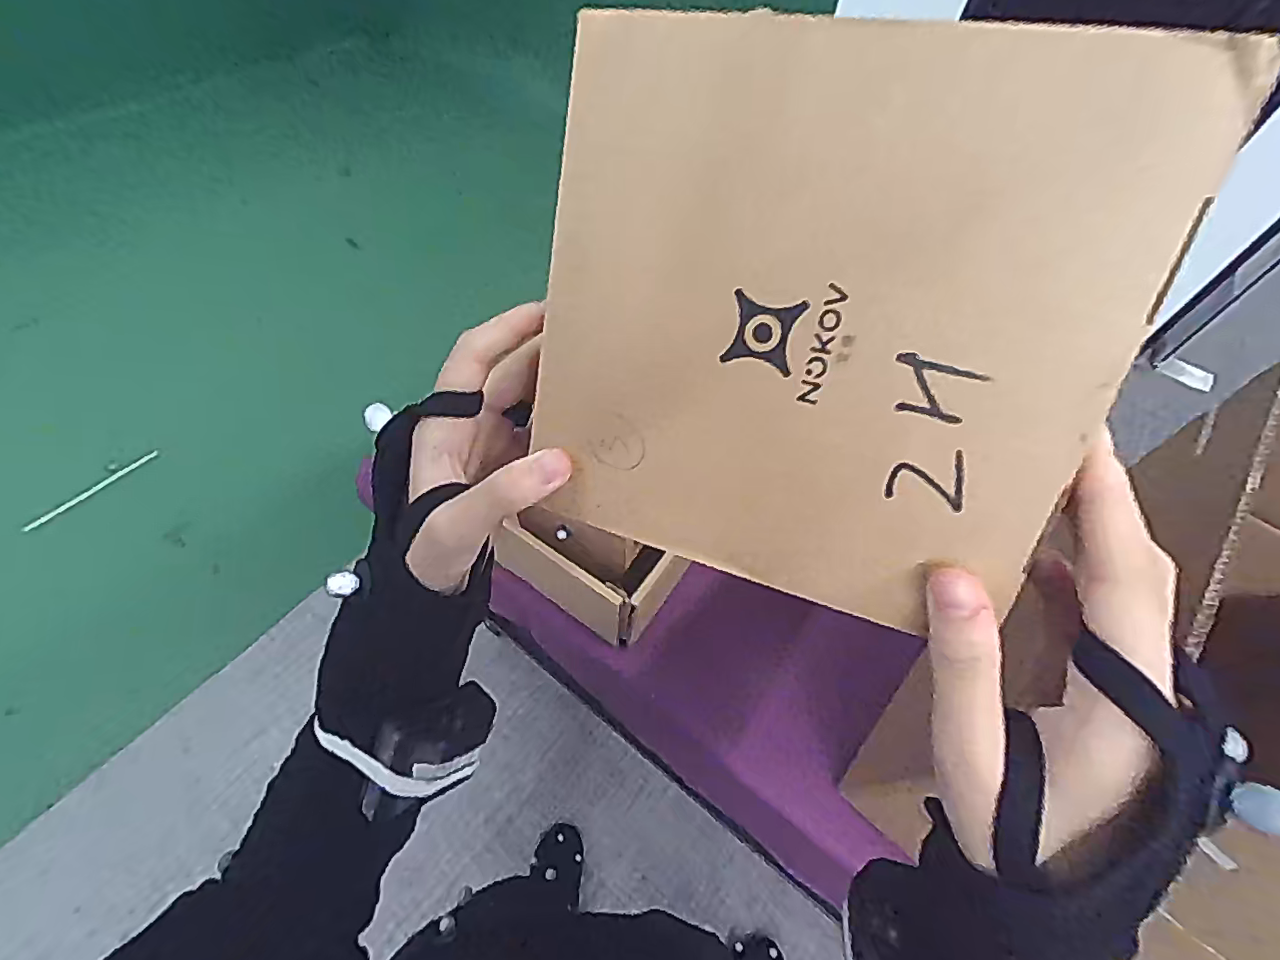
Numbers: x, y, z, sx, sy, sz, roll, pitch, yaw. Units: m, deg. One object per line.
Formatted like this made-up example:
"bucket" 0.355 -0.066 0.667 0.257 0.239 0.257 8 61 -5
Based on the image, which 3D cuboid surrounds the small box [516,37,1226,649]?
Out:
"small box" 0.070 -0.063 0.247 0.179 0.168 0.176 18 22 16
